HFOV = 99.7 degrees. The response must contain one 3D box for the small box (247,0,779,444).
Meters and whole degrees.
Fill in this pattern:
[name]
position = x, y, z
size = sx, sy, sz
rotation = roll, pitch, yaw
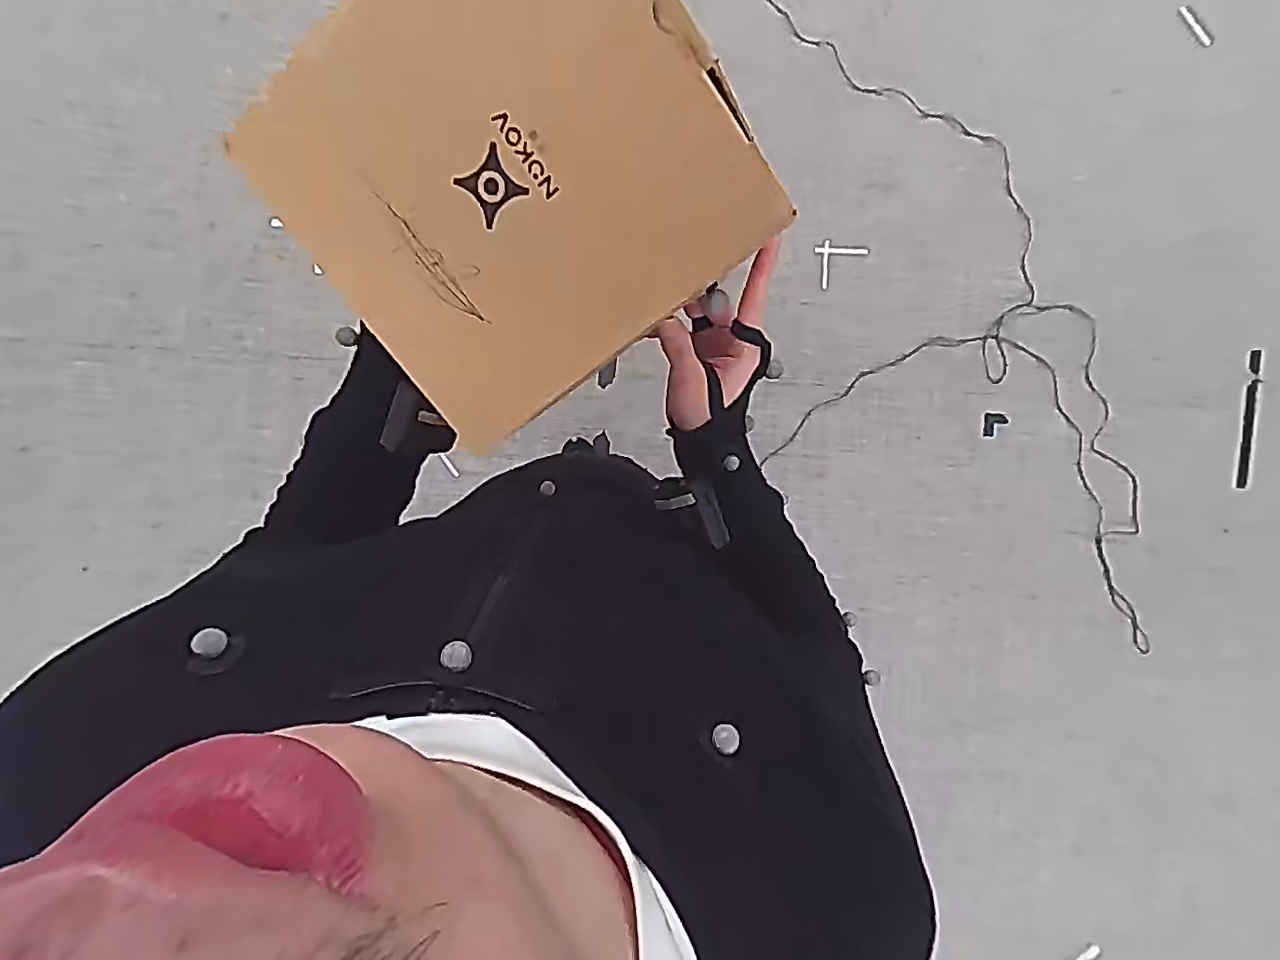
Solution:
[small box]
position = -0.049, -0.151, 0.304
size = 0.179, 0.176, 0.168
rotation = -35, 101, 17
